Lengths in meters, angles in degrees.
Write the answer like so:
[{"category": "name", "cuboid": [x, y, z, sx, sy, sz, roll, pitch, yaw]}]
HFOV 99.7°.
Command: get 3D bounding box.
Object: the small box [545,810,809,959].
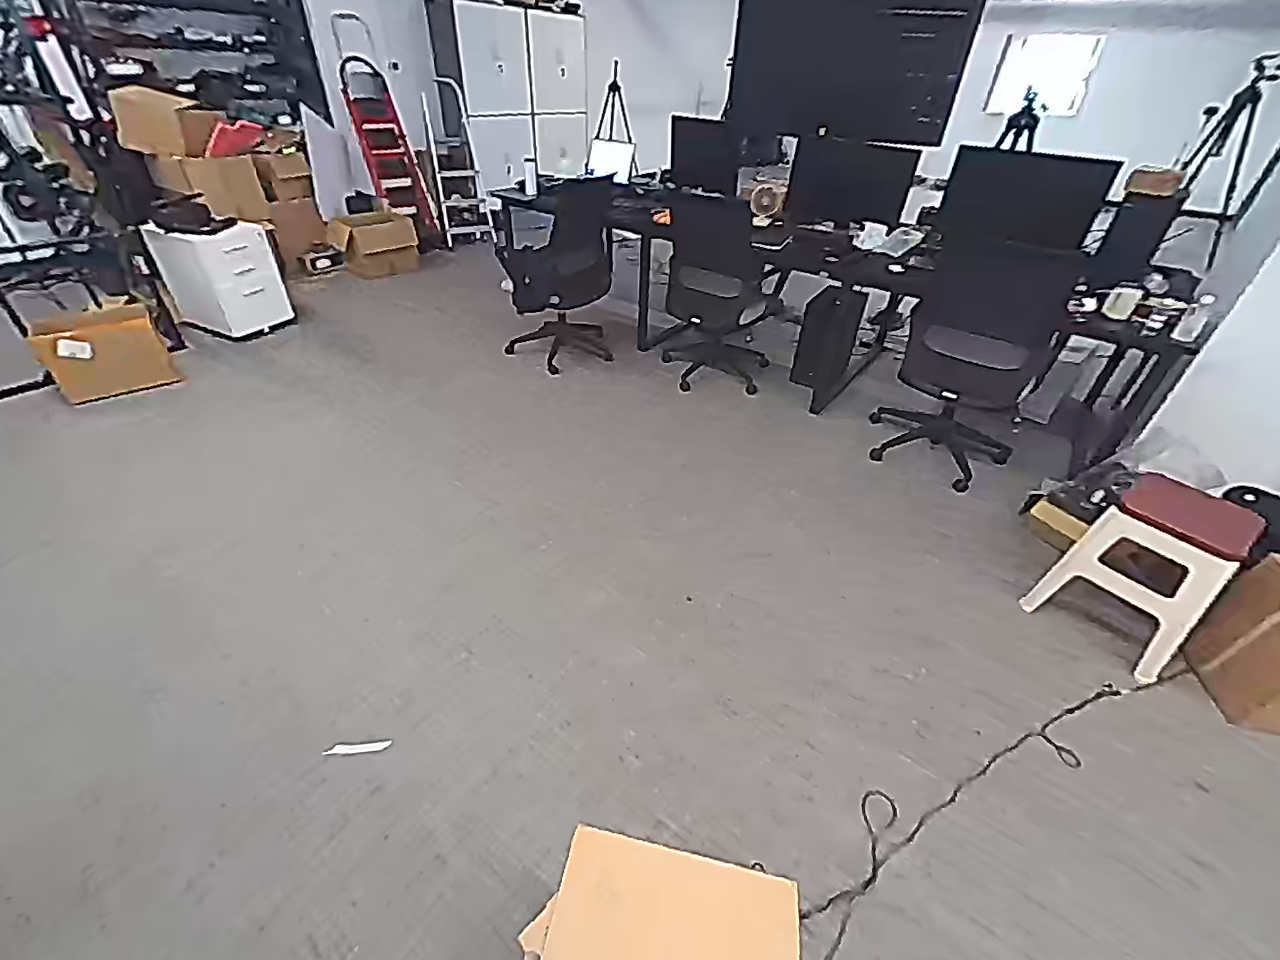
[{"category": "small box", "cuboid": [0.015, 0.374, 0.373, 0.168, 0.176, 0.179, 10, 38, 8]}]
